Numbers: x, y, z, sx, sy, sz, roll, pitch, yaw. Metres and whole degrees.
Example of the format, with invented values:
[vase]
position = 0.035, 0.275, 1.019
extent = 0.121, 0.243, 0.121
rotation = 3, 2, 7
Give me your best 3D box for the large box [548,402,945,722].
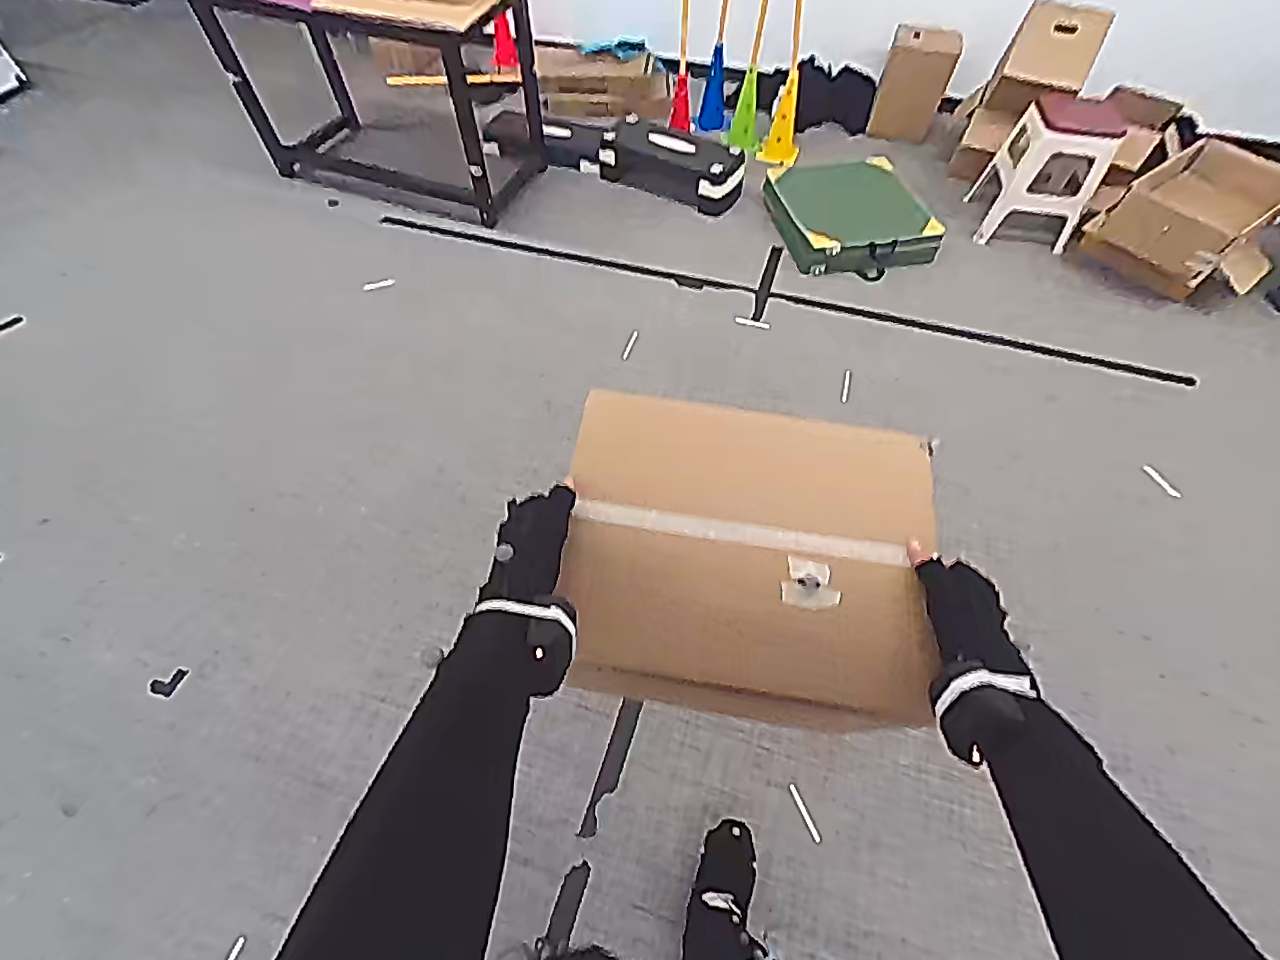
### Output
[large box]
position = 0.116, 0.128, 0.729
extent = 0.408, 0.320, 0.320
rotation = 9, 65, 2
